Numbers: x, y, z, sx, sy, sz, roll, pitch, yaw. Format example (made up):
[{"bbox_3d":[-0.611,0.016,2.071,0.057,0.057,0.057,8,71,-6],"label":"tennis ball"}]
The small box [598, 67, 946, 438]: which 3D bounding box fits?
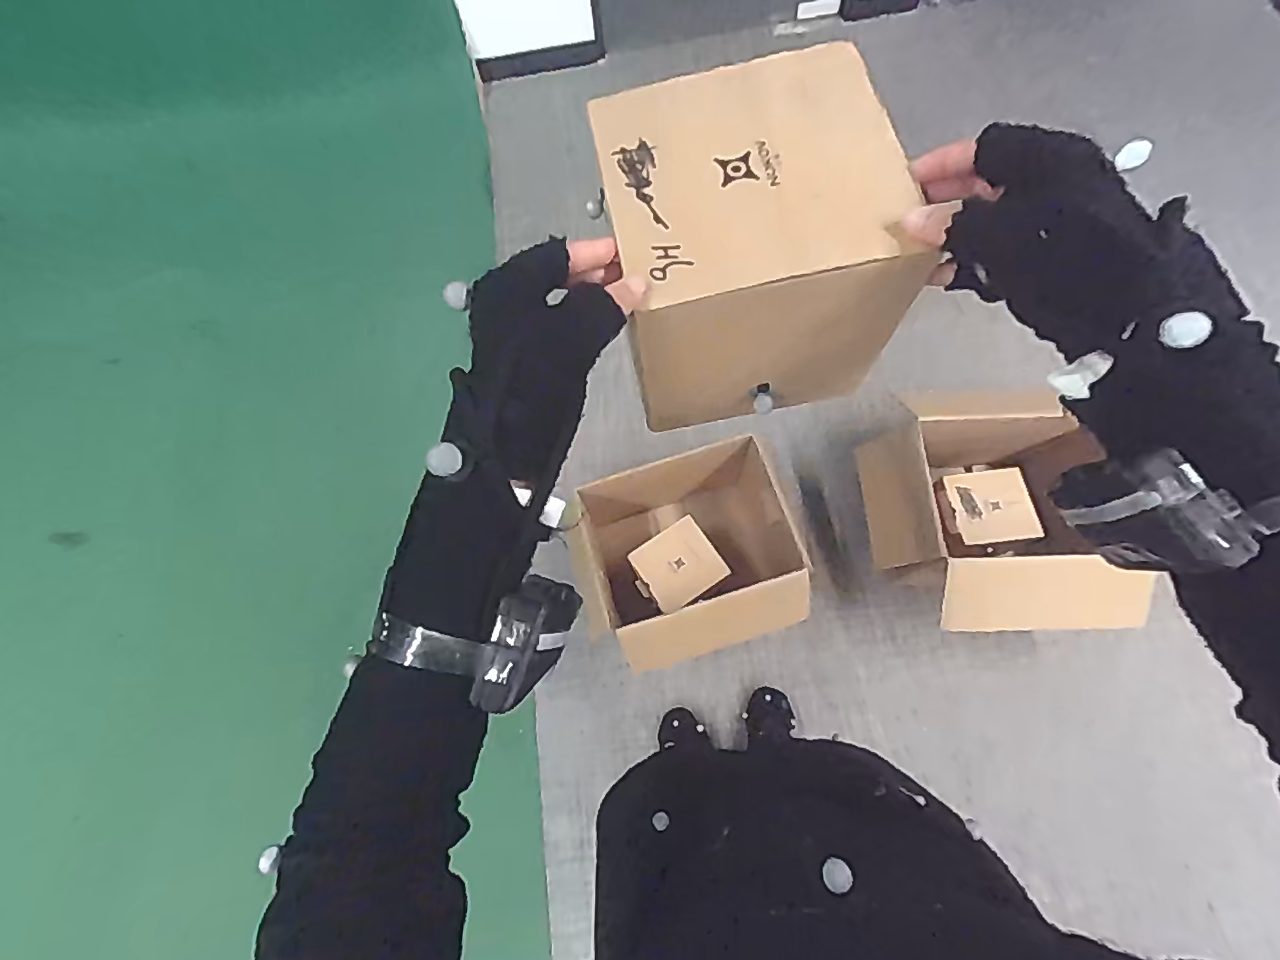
[{"bbox_3d":[0.075,-0.148,0.397,0.179,0.176,0.168,-12,70,0],"label":"small box"}]
